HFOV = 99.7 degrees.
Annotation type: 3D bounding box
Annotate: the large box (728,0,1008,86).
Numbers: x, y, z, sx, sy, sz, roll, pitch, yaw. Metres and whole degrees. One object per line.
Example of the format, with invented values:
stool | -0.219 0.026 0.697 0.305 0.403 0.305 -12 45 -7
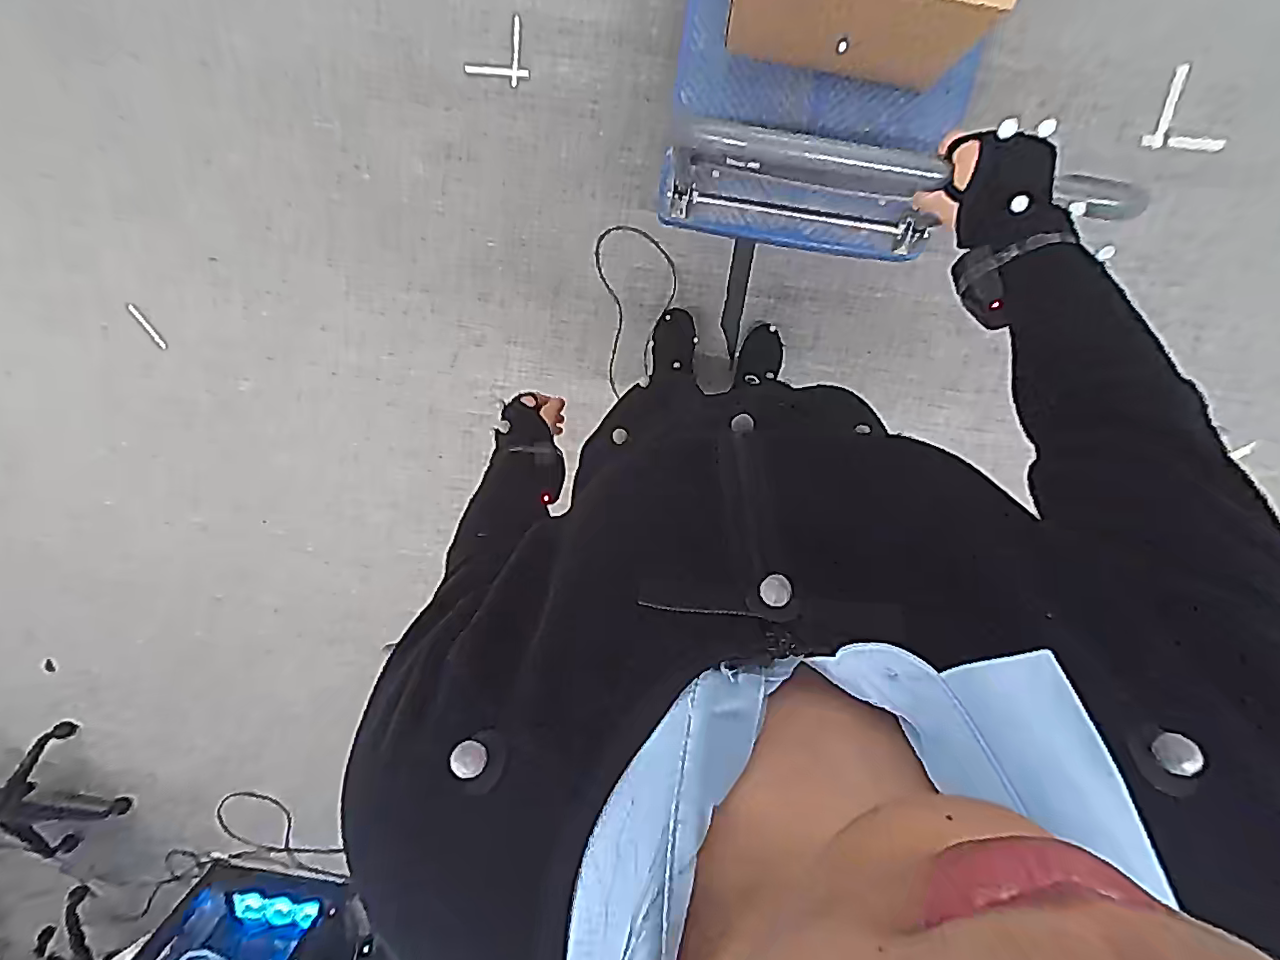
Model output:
large box | 0.383 -0.912 0.894 0.408 0.320 0.320 12 107 2
